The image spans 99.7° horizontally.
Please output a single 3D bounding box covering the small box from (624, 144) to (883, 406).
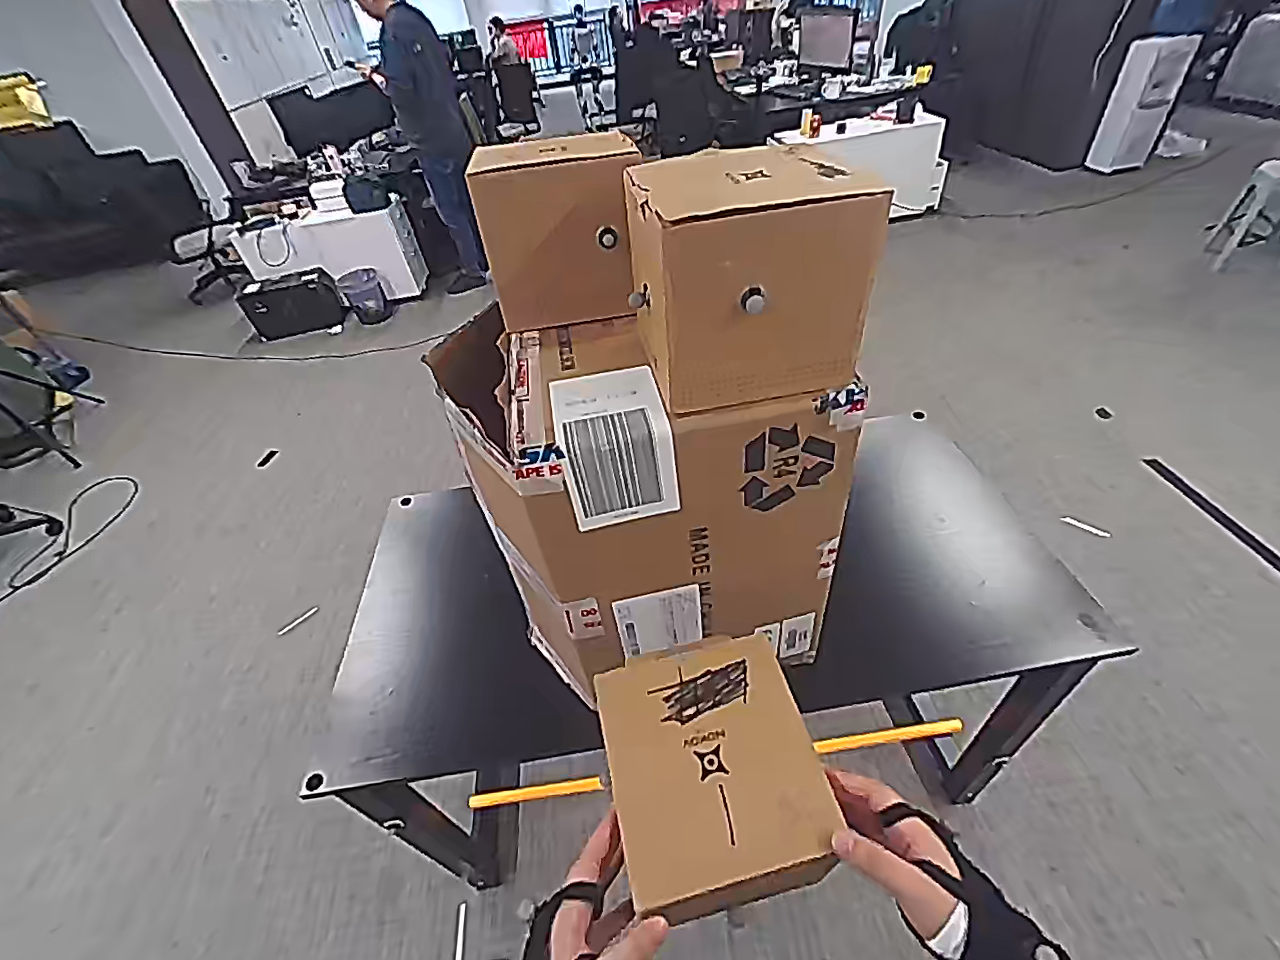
[{"bbox_3d":[0.091,-0.187,0.503,0.179,0.176,0.168,-11,45,-3],"label":"small box"}]

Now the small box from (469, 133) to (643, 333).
[{"bbox_3d":[-0.088,-0.295,0.646,0.179,0.176,0.168,-11,40,-4],"label":"small box"}]

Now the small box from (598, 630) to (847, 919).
[{"bbox_3d":[0.063,0.273,0.505,0.168,0.176,0.179,-13,47,-5],"label":"small box"}]
